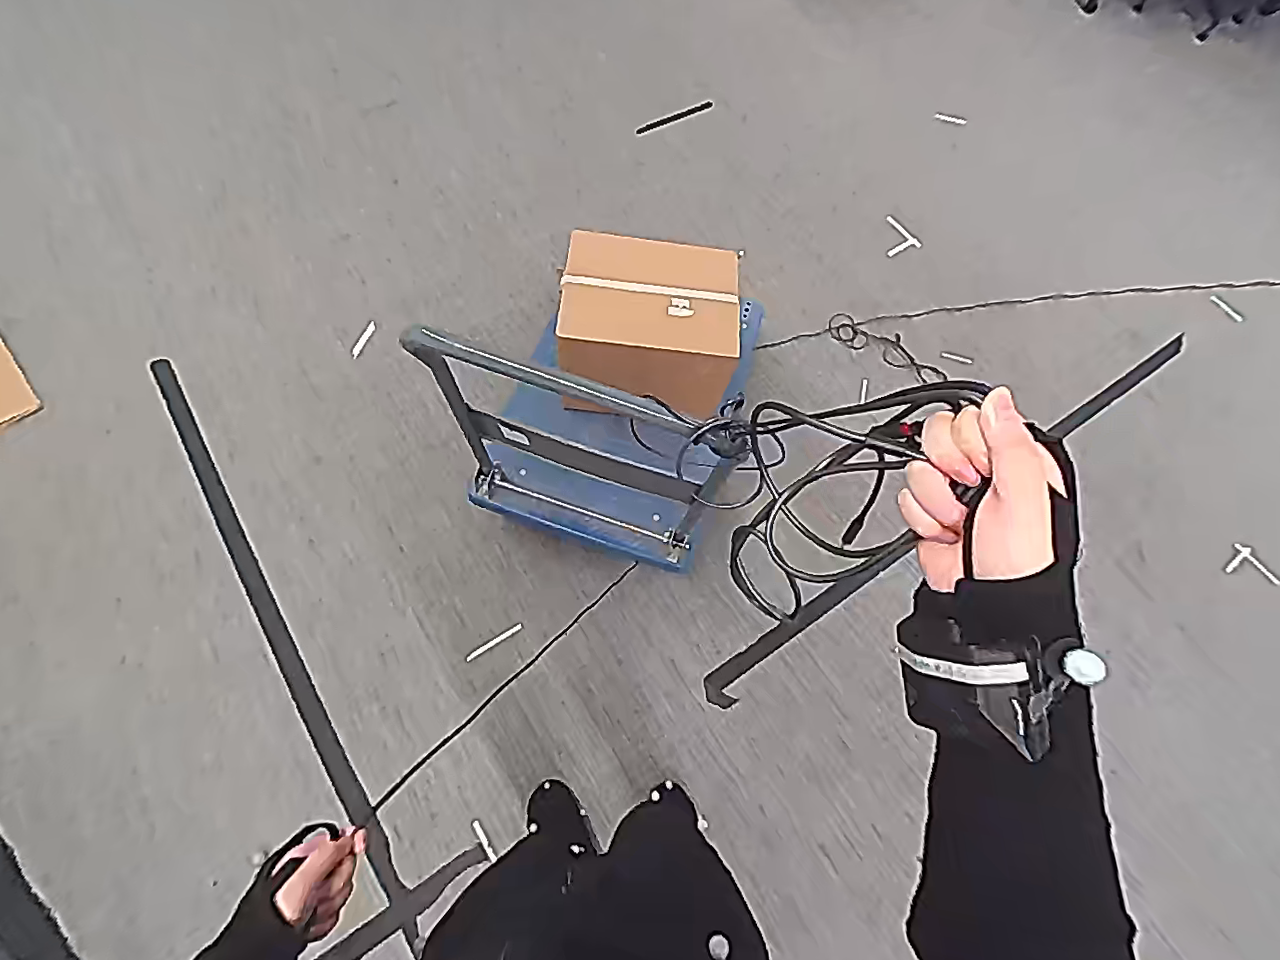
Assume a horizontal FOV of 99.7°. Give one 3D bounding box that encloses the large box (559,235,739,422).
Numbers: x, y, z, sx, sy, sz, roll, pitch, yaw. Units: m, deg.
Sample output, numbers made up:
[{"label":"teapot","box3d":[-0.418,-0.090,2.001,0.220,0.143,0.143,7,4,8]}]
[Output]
[{"label":"large box","box3d":[0.011,-0.366,1.366,0.408,0.320,0.320,6,67,-4]}]
